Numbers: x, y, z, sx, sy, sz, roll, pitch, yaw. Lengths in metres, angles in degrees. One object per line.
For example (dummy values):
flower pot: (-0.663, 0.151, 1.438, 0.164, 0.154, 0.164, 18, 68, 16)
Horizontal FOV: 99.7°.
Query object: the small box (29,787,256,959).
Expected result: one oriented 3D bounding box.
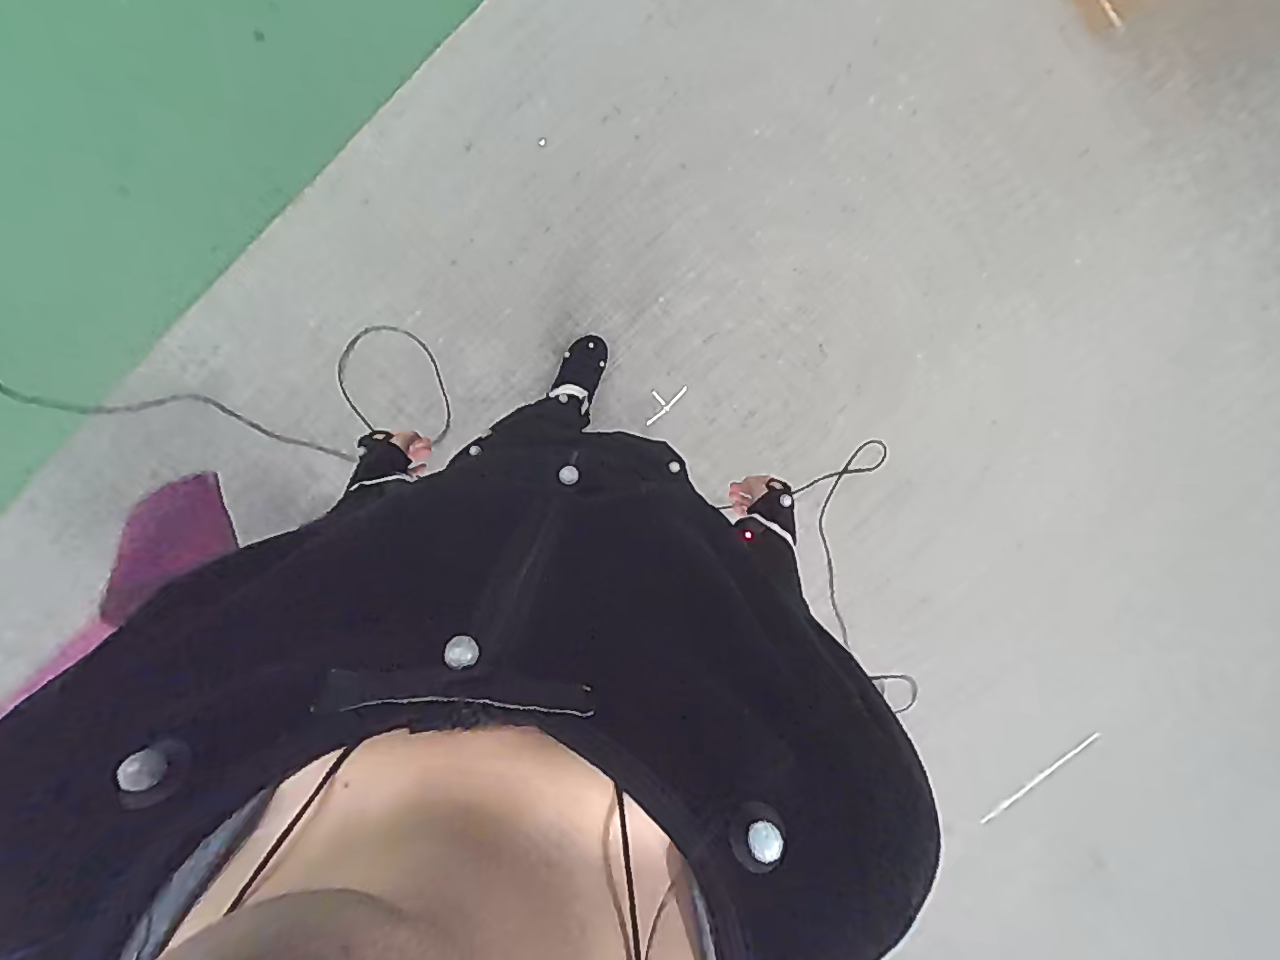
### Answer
small box: (-0.719, 0.596, 0.783, 0.168, 0.176, 0.179, -41, 100, 6)
